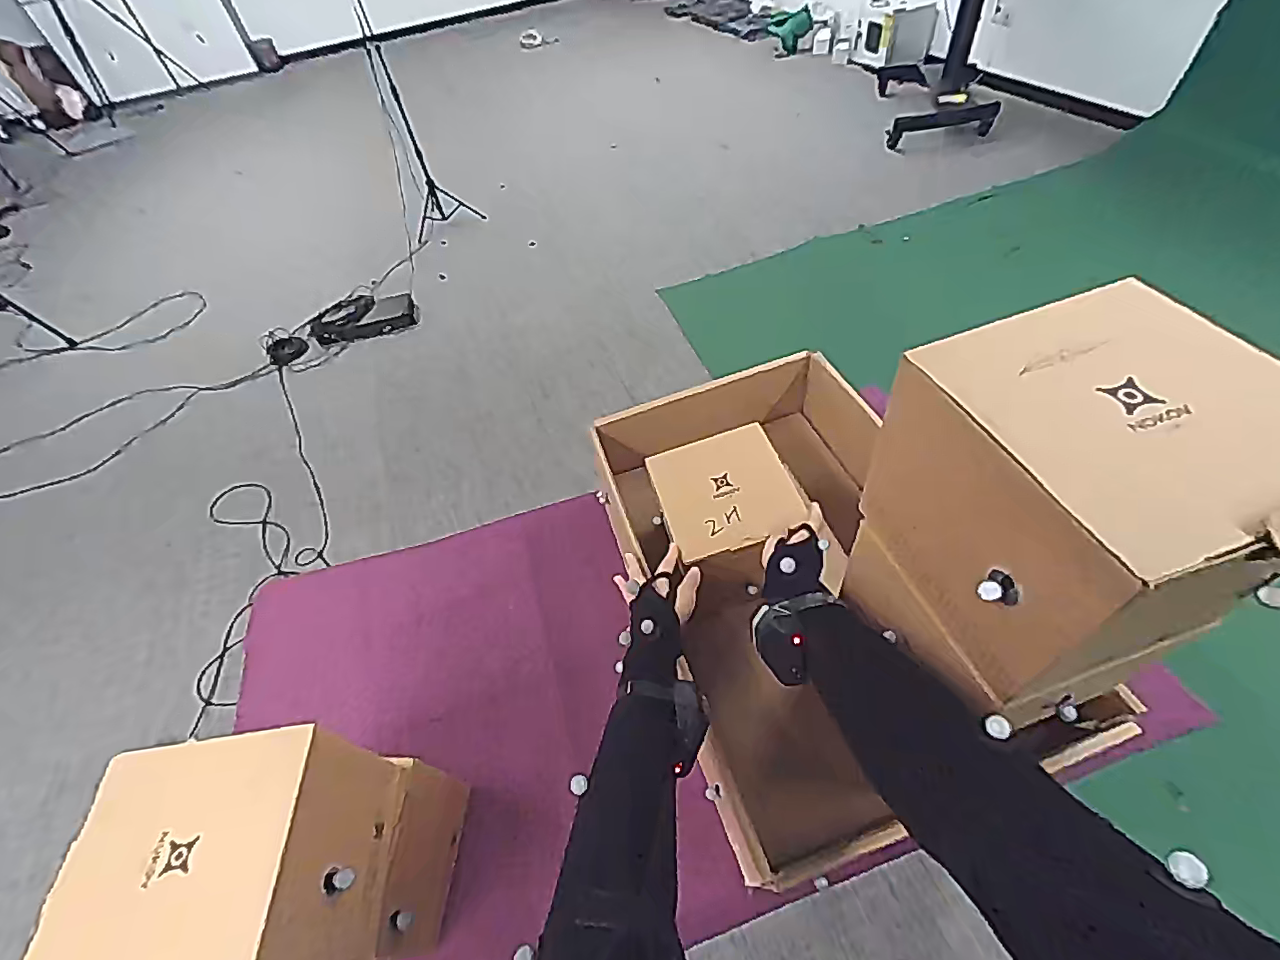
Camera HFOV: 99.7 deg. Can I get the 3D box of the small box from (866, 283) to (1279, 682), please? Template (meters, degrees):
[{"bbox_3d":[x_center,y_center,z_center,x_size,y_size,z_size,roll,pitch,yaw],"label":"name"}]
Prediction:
[{"bbox_3d":[0.275,0.010,0.350,0.168,0.176,0.179,-18,50,-4],"label":"small box"}]

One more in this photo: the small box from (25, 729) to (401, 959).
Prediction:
[{"bbox_3d":[-0.331,0.329,0.459,0.179,0.176,0.168,-10,50,2],"label":"small box"}]

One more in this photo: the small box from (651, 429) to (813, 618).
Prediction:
[{"bbox_3d":[0.122,0.063,0.752,0.168,0.176,0.179,-17,52,0],"label":"small box"}]

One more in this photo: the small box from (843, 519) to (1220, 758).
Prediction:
[{"bbox_3d":[0.302,0.116,0.471,0.179,0.176,0.168,-19,50,-4],"label":"small box"}]
